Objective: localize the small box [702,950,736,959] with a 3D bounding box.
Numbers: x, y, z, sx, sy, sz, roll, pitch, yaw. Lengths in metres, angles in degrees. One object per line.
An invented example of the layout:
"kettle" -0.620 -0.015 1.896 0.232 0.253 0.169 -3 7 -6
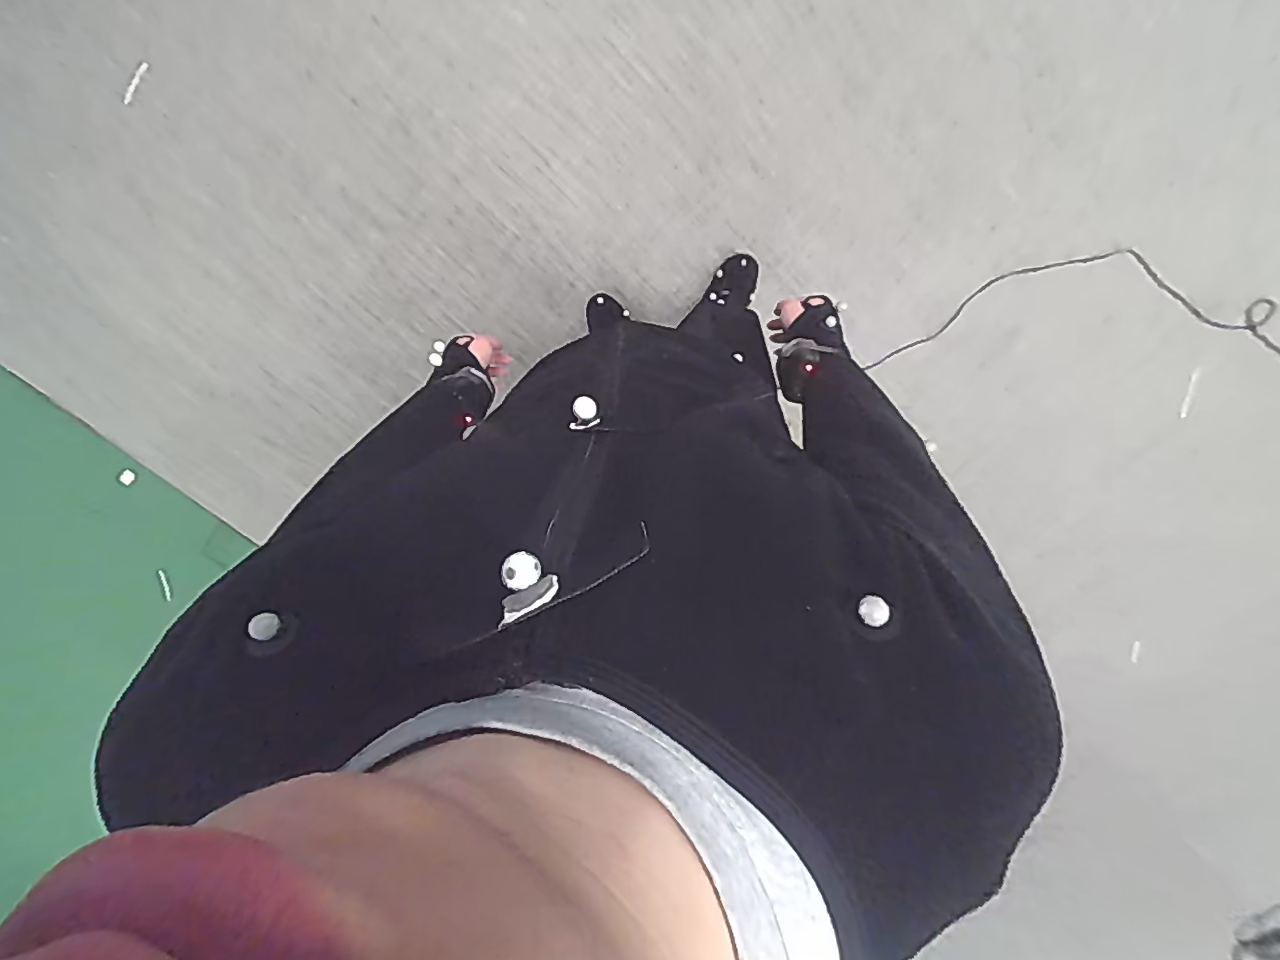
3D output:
"small box" 0.188 1.241 1.244 0.168 0.176 0.179 40 106 -13
